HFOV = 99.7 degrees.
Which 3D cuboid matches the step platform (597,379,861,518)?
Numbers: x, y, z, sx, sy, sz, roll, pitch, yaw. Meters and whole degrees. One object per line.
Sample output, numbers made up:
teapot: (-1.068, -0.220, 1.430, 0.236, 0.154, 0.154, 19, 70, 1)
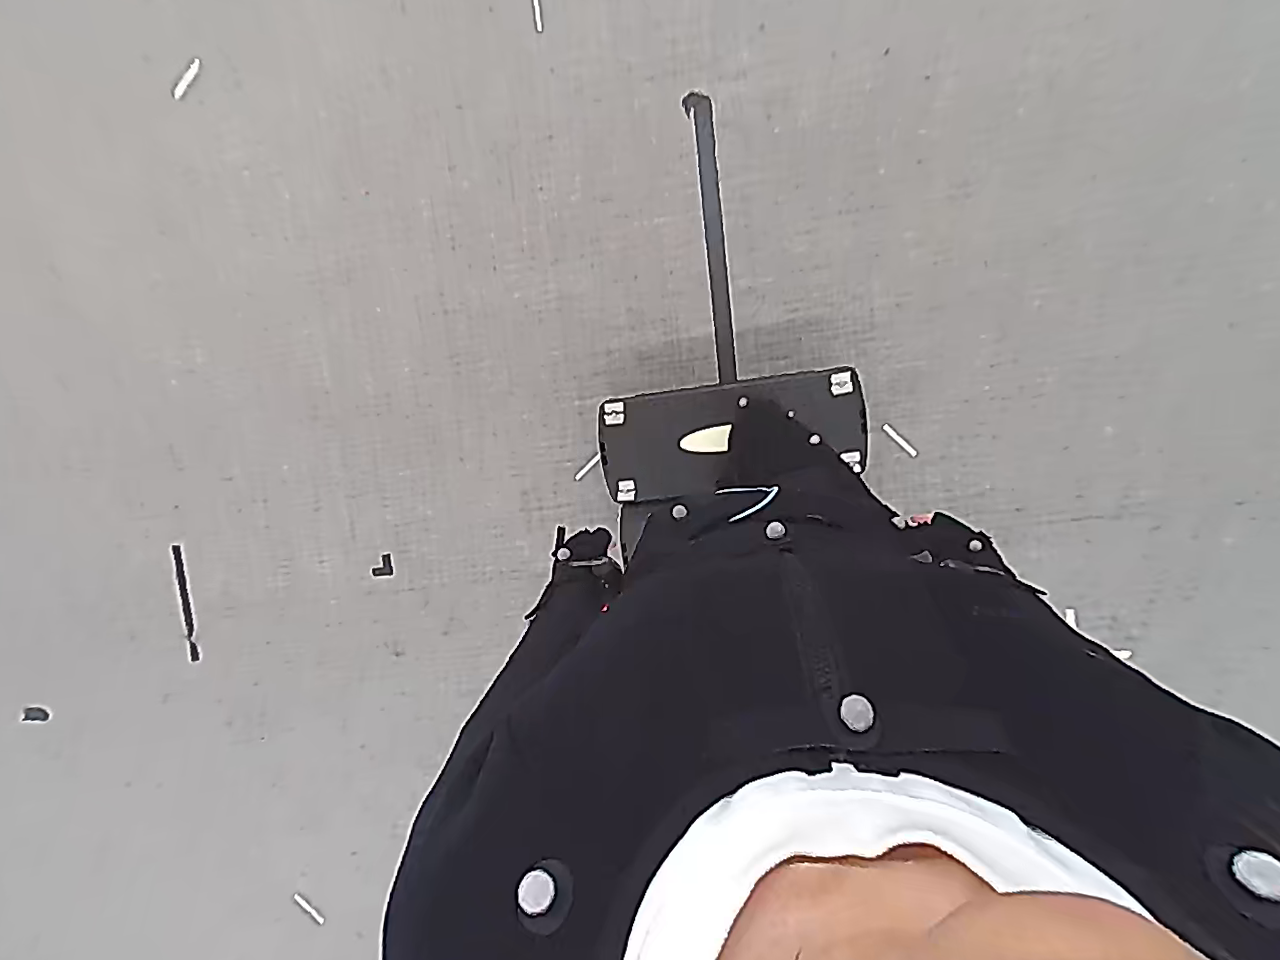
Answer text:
step platform: (0.225, -0.082, 1.452, 0.684, 0.204, 0.286, -8, 95, 7)
